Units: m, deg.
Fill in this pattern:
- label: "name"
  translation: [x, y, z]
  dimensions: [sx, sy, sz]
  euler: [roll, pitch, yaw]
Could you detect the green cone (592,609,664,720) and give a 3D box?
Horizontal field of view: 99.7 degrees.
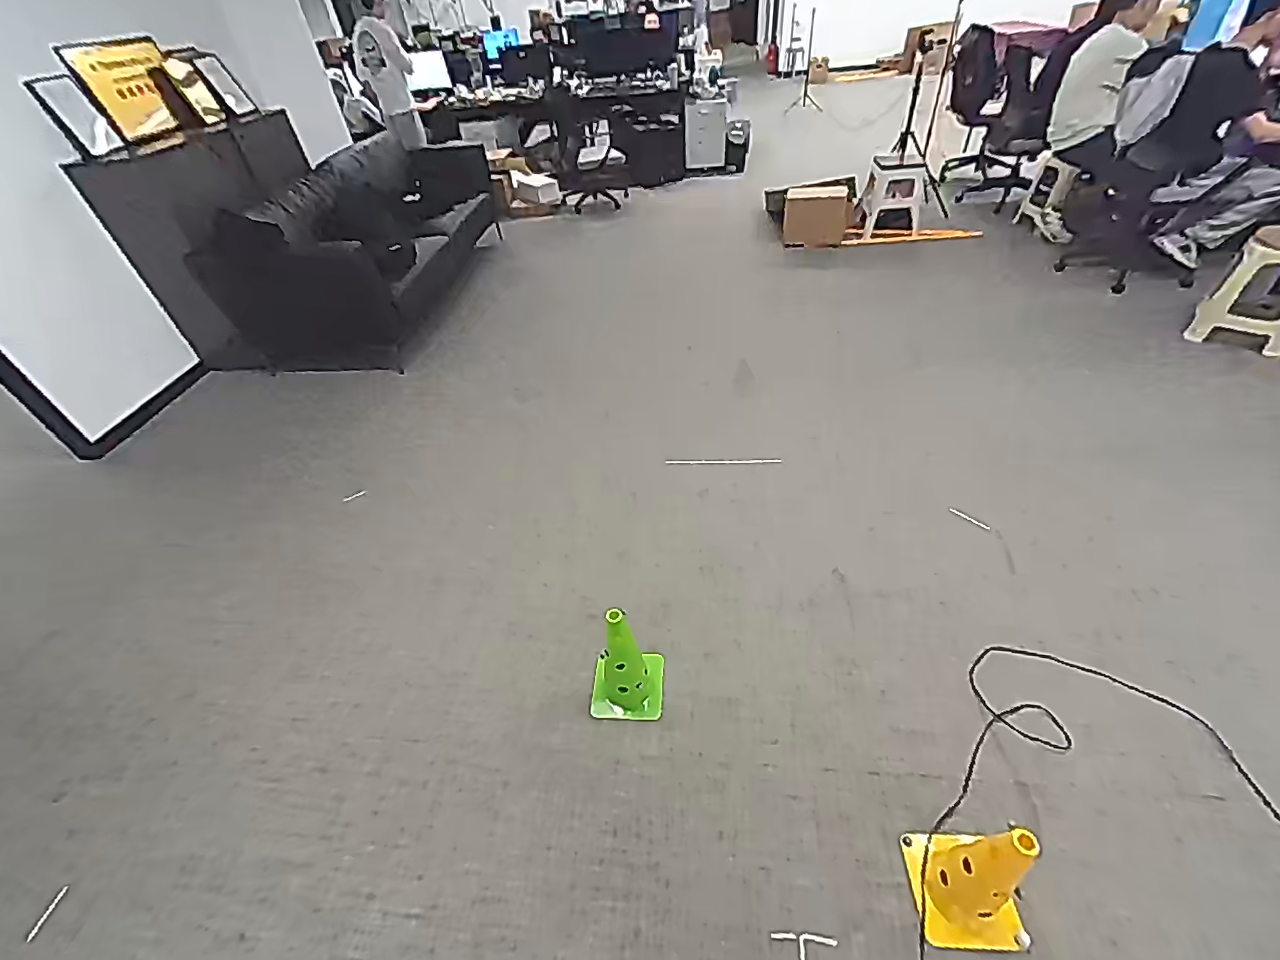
- label: "green cone"
  translation: [-0.044, 0.468, 1.449]
  dimensions: [0.202, 0.368, 0.200]
  euler: [0, 43, 6]
